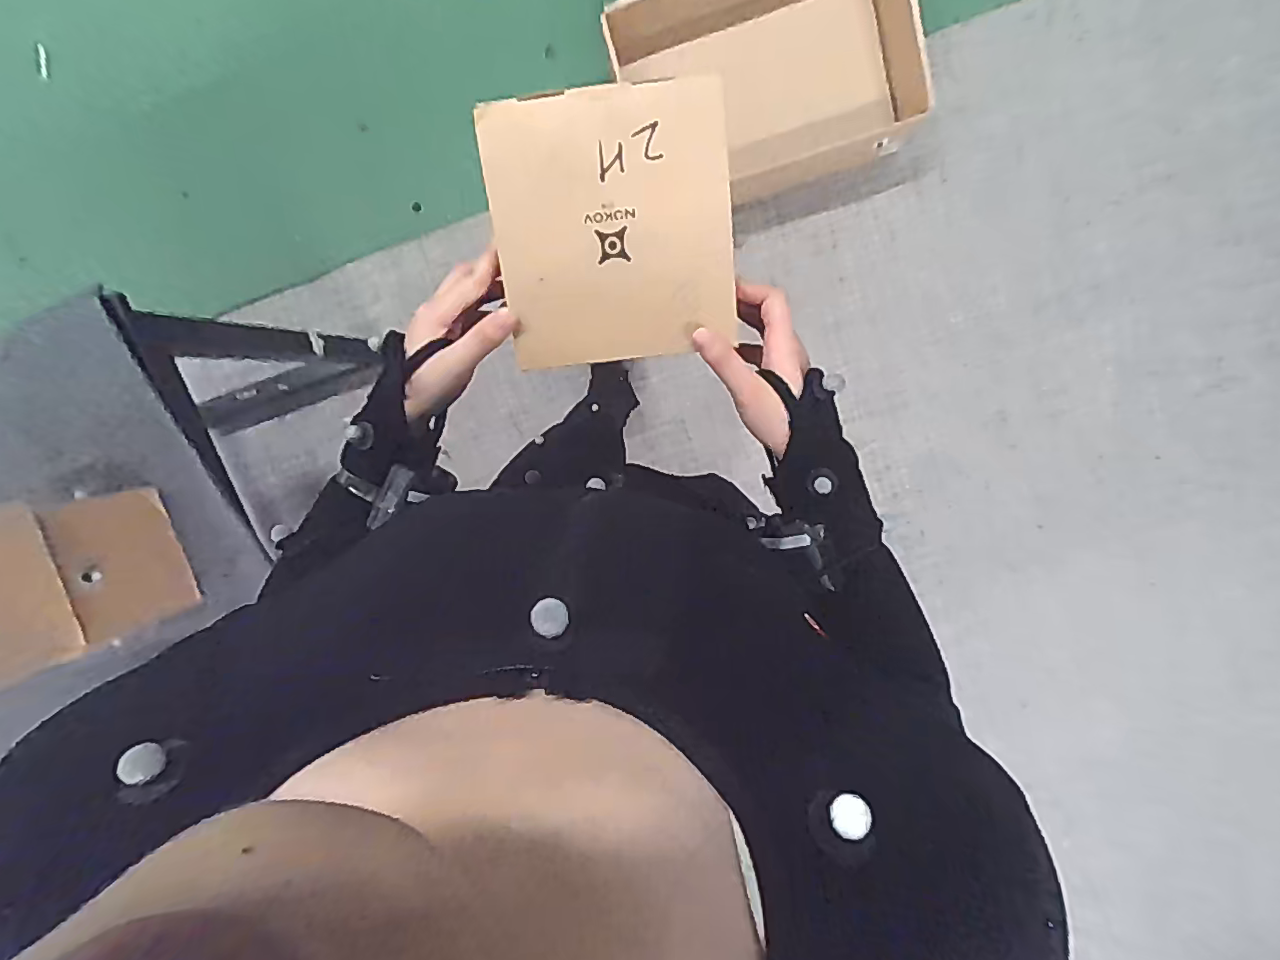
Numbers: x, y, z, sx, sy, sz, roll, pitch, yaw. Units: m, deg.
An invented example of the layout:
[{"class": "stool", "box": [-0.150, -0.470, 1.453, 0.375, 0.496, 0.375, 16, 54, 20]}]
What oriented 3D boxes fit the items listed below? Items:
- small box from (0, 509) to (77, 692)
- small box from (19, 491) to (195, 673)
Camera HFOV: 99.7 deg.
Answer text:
[{"class": "small box", "box": [-0.716, 0.143, 0.515, 0.168, 0.176, 0.179, -12, 101, 4]}, {"class": "small box", "box": [-0.722, 0.128, 0.680, 0.168, 0.176, 0.179, -14, 99, 4]}]
